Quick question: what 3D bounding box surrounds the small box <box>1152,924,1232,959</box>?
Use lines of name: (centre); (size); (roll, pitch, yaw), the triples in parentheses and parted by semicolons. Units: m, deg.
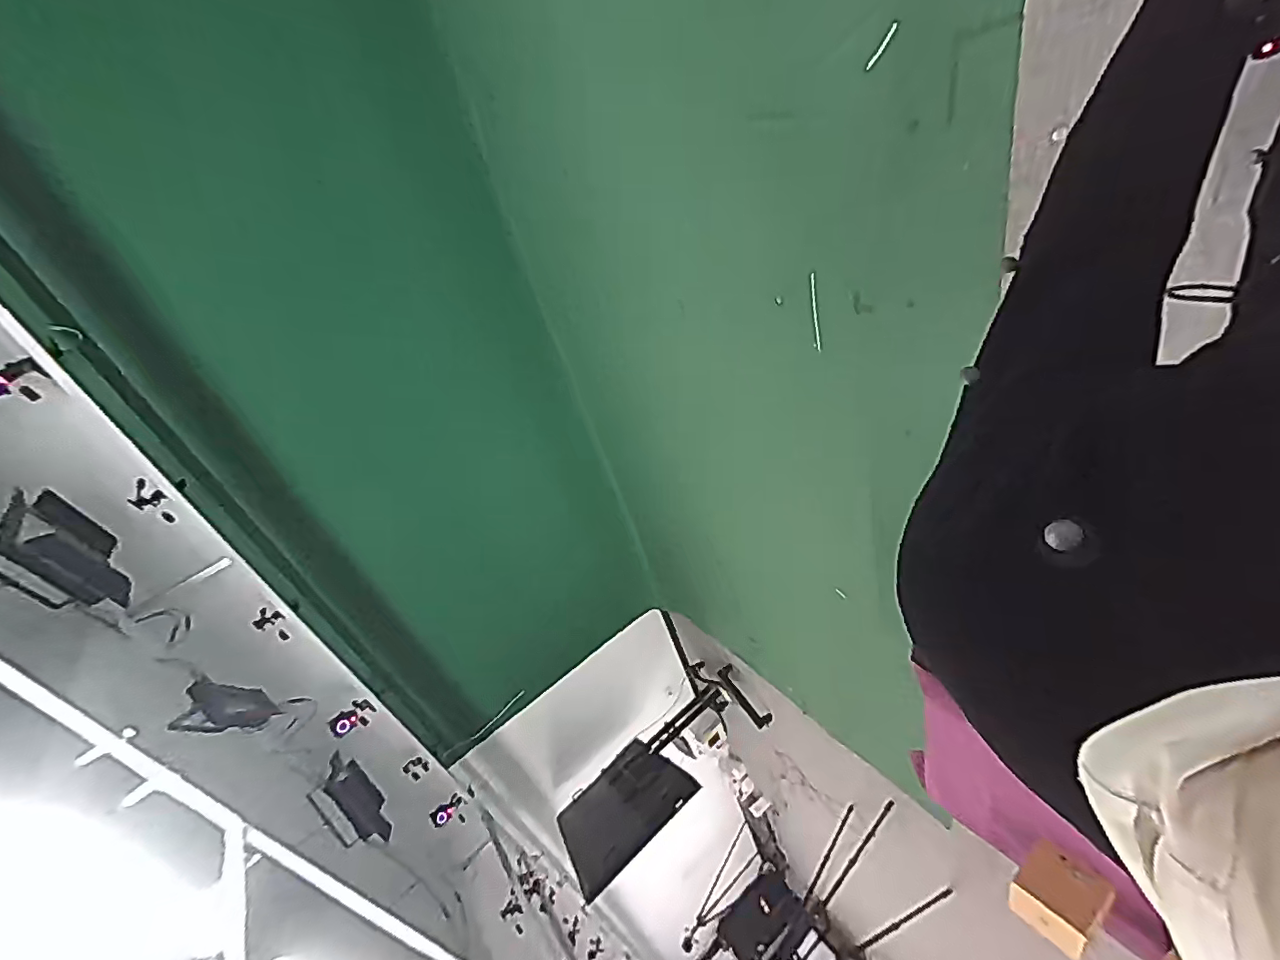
small box: (1.274, 1.168, 1.226); (0.168, 0.176, 0.179); (27, 146, 50)

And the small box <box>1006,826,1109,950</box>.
small box: (1.111, 1.081, 1.442); (0.168, 0.176, 0.179); (25, 143, 50)
